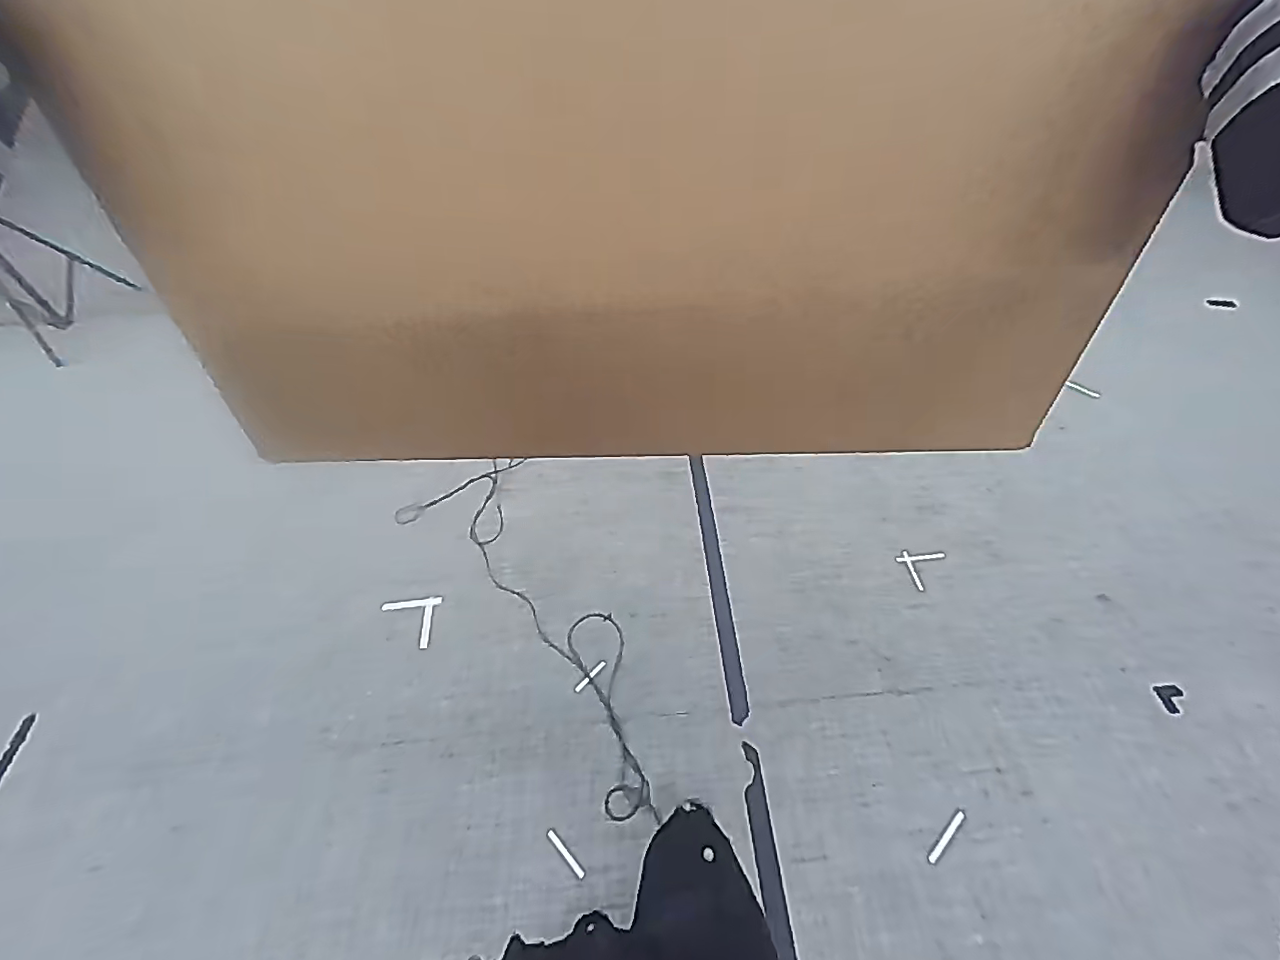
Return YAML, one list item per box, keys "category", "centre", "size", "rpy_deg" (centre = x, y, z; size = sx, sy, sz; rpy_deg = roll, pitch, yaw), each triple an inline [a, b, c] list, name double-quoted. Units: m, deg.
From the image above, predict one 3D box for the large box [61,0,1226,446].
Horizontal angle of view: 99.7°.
- category: "large box"
  centre: [0.001, -0.231, 0.315]
  size: [0.408, 0.320, 0.320]
  rpy_deg: [-1, 42, -1]
